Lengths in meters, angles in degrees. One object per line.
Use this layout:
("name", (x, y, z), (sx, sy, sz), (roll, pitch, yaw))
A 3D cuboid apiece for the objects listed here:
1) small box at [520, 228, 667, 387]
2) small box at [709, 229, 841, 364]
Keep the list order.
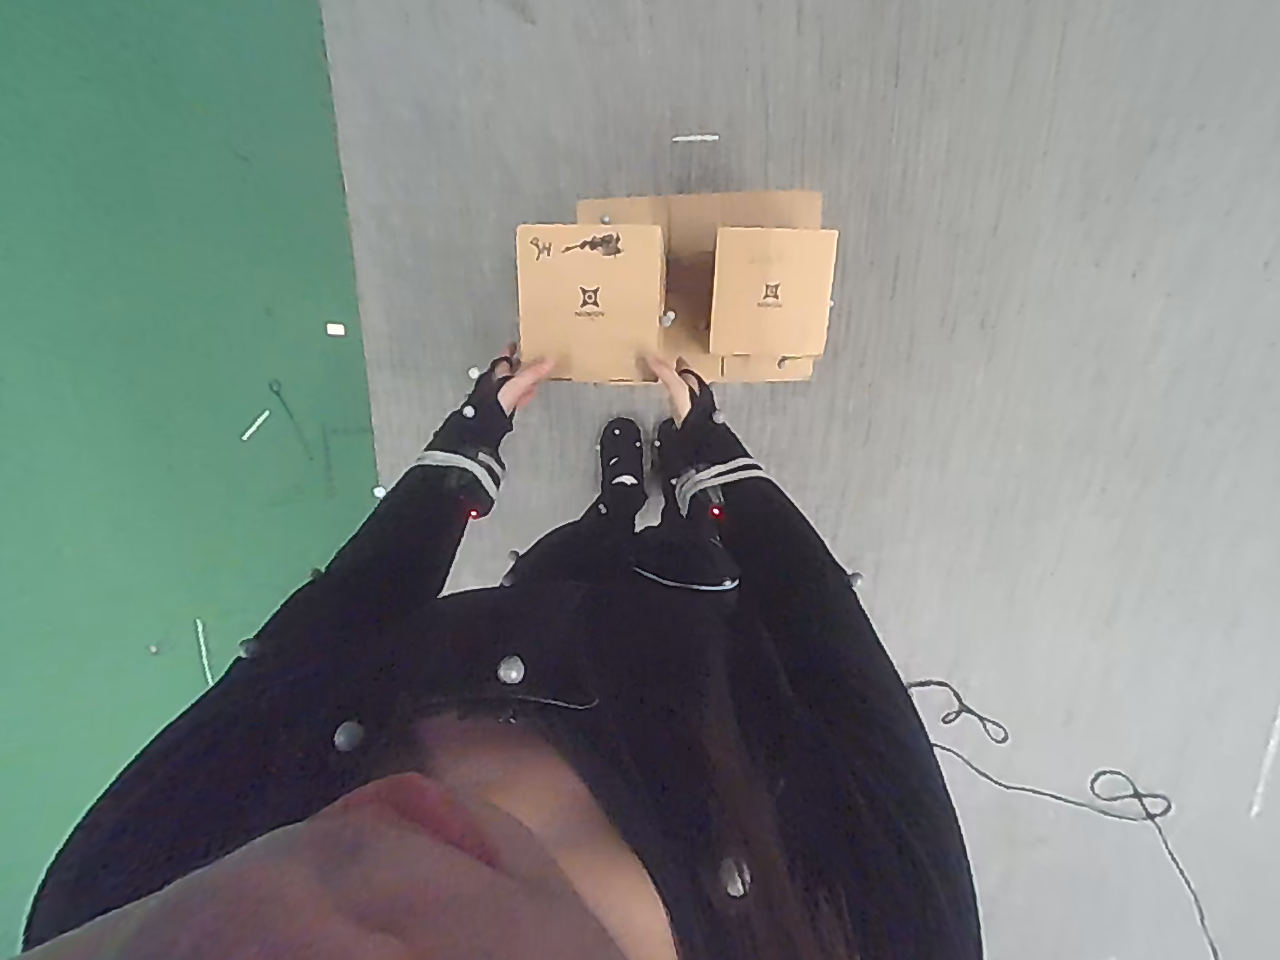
("small box", (-0.050, -0.219, 0.701), (0.168, 0.176, 0.179), (1, 106, 3))
("small box", (0.196, -0.274, 0.836), (0.168, 0.176, 0.179), (4, 103, 4))
